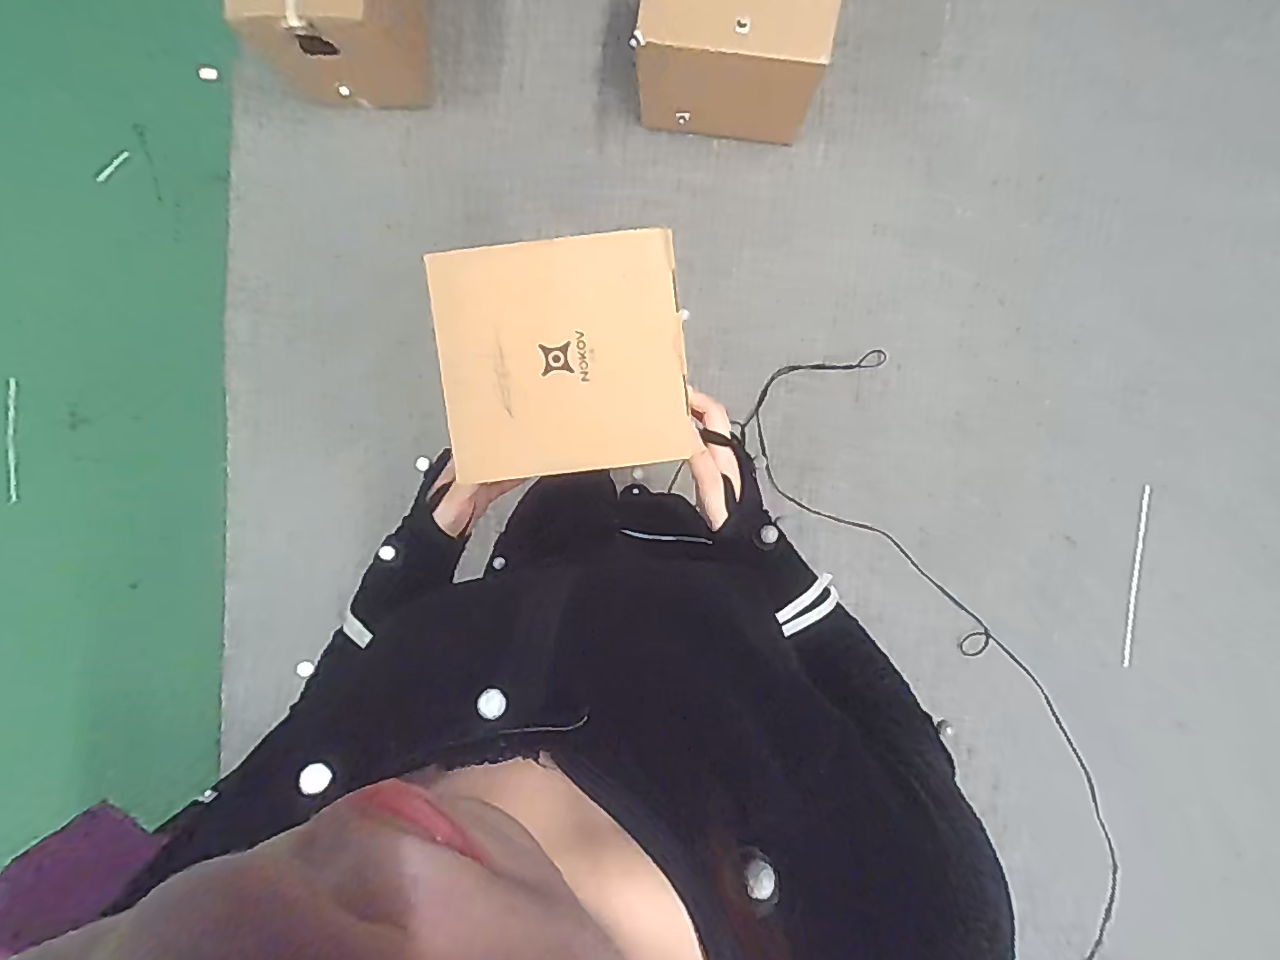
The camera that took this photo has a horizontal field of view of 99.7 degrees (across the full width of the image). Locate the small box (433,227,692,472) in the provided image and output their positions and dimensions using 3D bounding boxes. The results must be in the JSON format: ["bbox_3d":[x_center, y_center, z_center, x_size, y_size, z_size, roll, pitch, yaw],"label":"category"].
[{"bbox_3d":[-0.056,-0.099,0.468,0.179,0.176,0.168,-5,94,0],"label":"small box"}]

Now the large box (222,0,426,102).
[{"bbox_3d":[-0.722,-1.195,1.281,0.320,0.320,0.408,3,93,3],"label":"large box"}]
